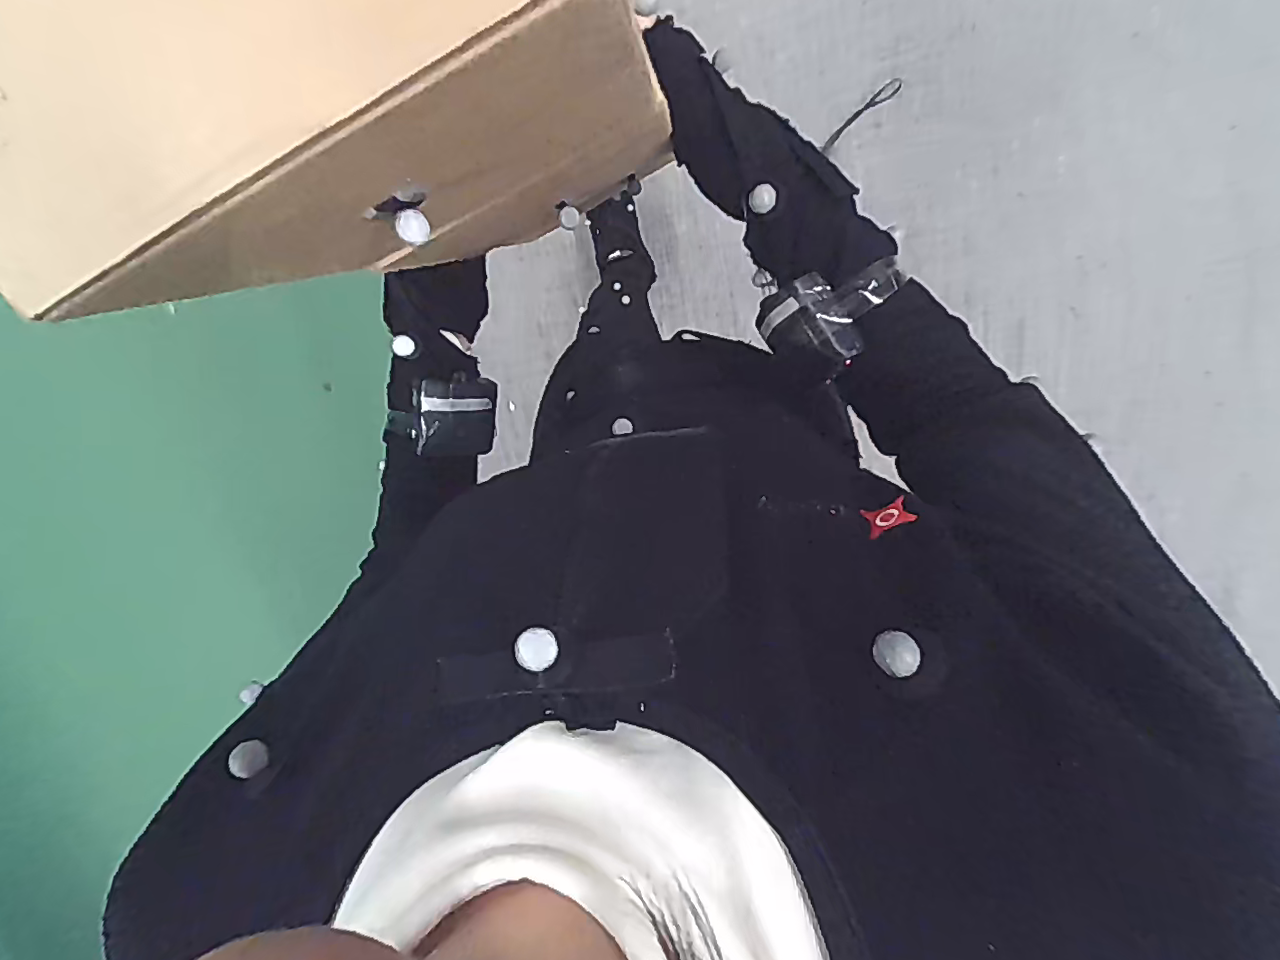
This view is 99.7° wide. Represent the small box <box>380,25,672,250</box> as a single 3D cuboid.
[{"bbox_3d":[-0.091,-0.255,0.317,0.179,0.176,0.168,-21,111,14],"label":"small box"}]

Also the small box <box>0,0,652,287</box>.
[{"bbox_3d":[-0.104,-0.185,0.169,0.179,0.176,0.168,-23,112,14],"label":"small box"}]

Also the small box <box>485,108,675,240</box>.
[{"bbox_3d":[-0.079,-0.329,0.463,0.179,0.176,0.168,-22,111,17],"label":"small box"}]
